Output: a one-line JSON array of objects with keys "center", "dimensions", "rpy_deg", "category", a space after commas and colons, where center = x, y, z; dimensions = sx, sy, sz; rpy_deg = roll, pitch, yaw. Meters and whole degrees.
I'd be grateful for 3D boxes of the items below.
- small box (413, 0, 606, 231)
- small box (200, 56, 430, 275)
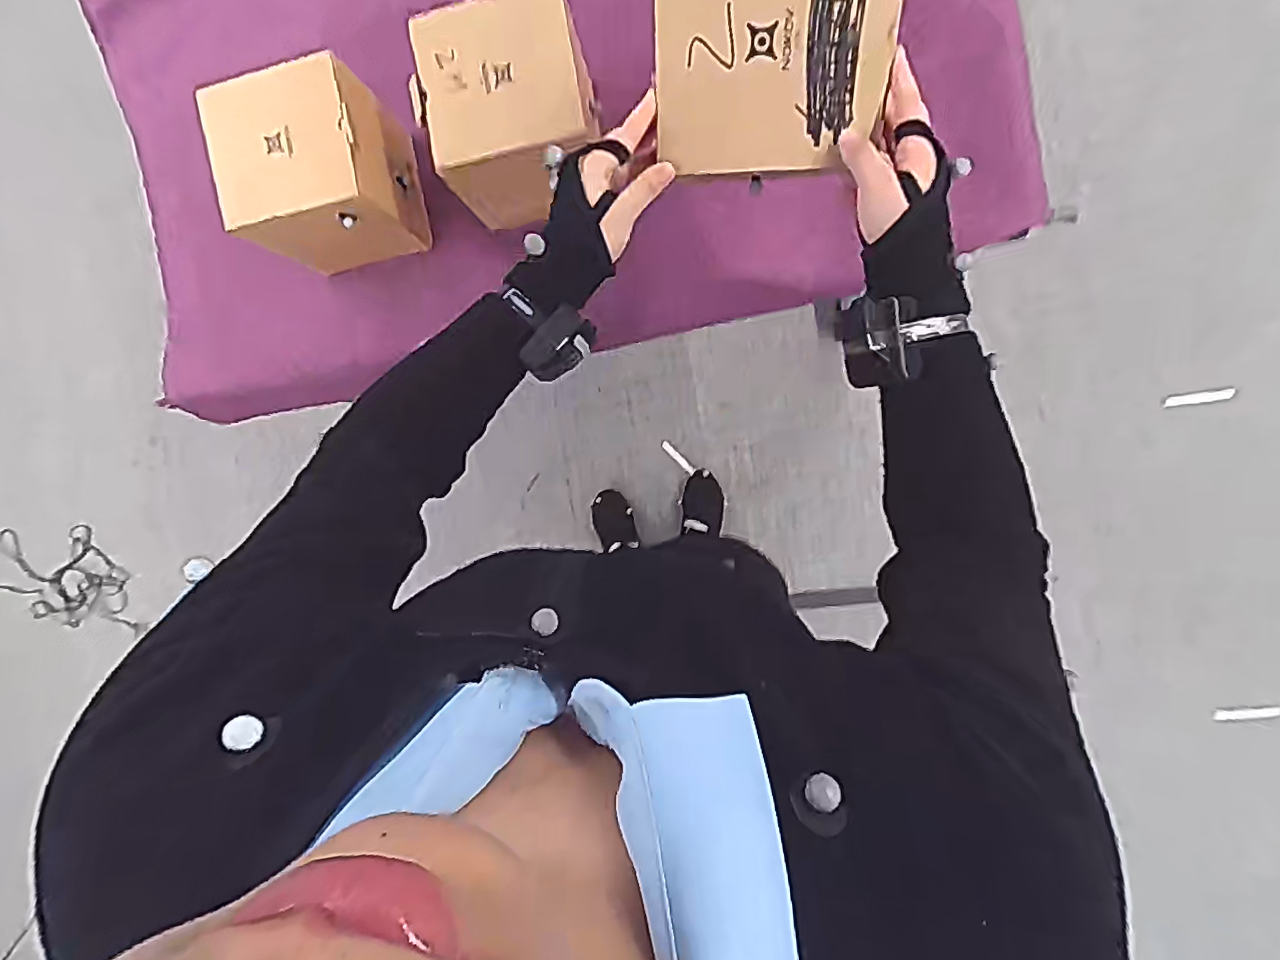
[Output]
[{"center": [-0.144, -0.434, 0.665], "dimensions": [0.179, 0.176, 0.168], "rpy_deg": [-10, 91, 7], "category": "small box"}, {"center": [-0.404, -0.385, 0.698], "dimensions": [0.179, 0.176, 0.168], "rpy_deg": [-11, 92, 6], "category": "small box"}]
